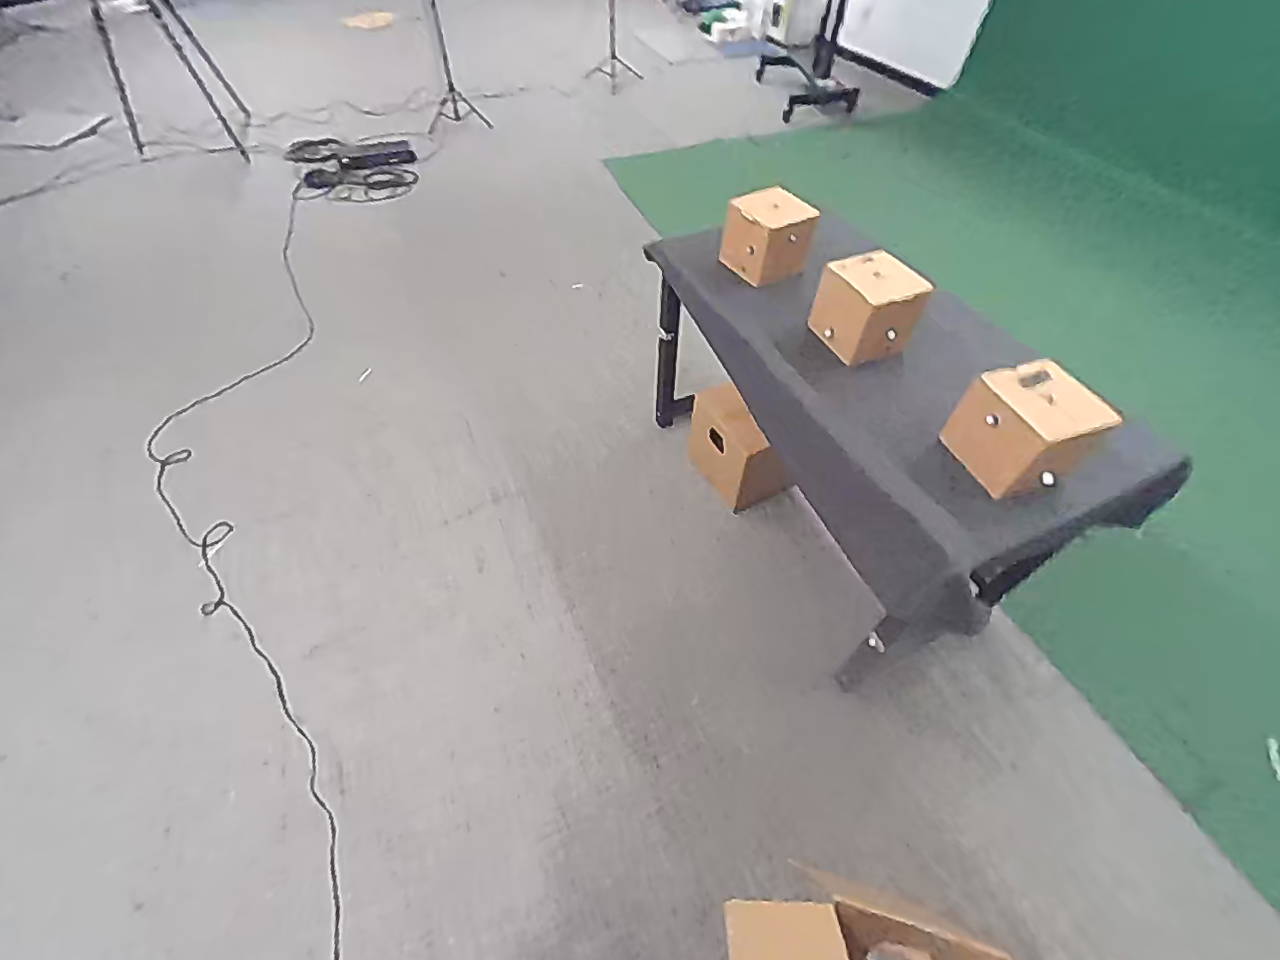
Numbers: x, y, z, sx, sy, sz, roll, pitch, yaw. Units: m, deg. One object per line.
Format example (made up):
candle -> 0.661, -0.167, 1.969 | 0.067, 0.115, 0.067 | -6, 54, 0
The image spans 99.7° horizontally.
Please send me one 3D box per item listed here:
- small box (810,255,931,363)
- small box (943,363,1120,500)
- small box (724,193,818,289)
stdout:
small box -> 0.527, -0.392, 1.265 | 0.168, 0.176, 0.179 | -17, 54, -14
small box -> 0.721, -0.091, 1.022 | 0.168, 0.176, 0.179 | -14, 53, -11
small box -> 0.344, -0.644, 1.465 | 0.179, 0.176, 0.168 | -25, 58, -22
